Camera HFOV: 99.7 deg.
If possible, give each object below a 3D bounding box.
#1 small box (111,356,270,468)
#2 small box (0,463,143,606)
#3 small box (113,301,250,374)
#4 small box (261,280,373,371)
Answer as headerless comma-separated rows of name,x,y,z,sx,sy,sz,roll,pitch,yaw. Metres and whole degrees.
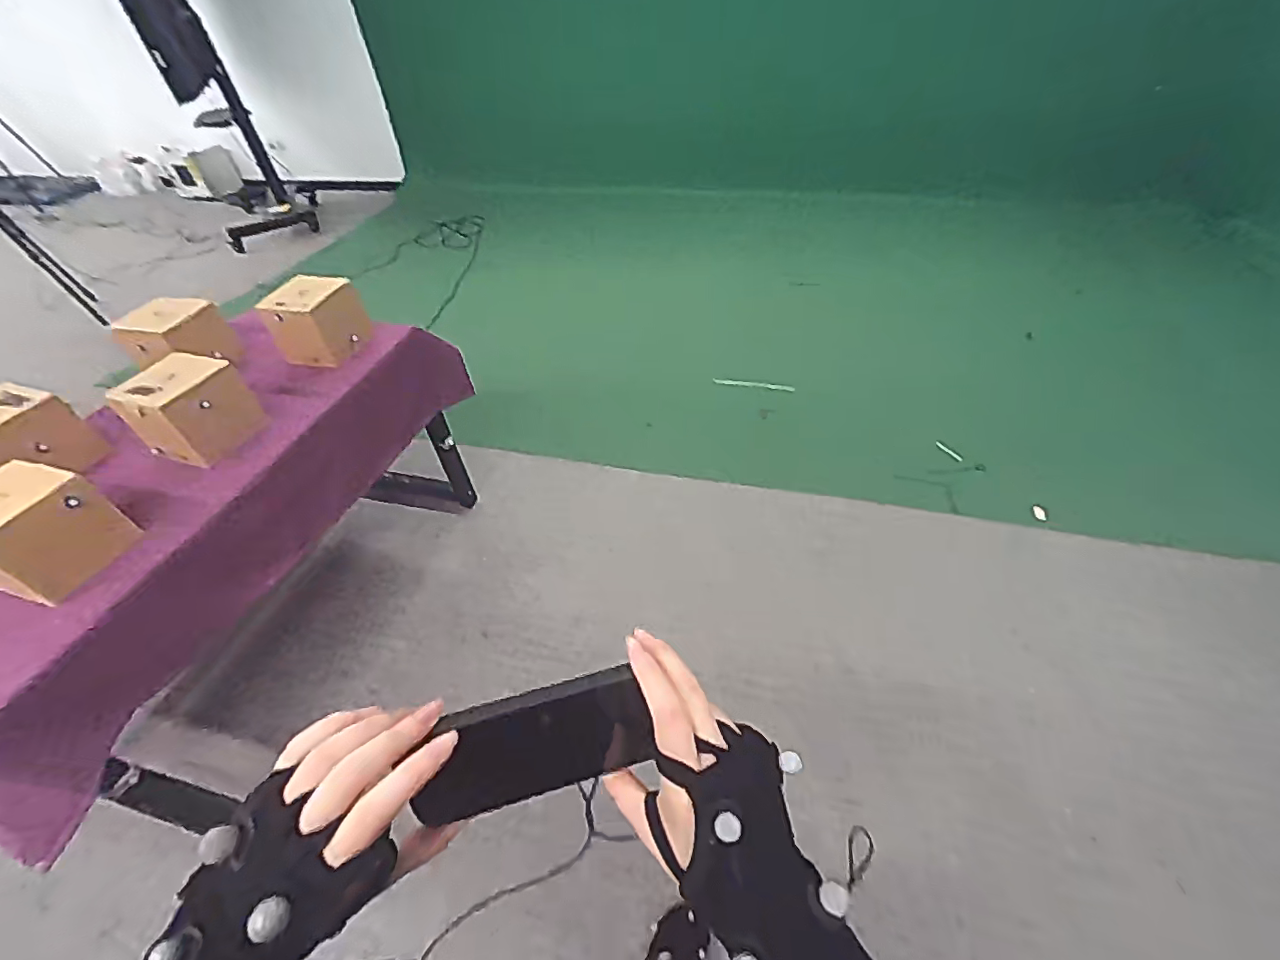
small box,-0.977,-0.149,1.195,0.168,0.176,0.179,11,46,16
small box,-1.060,0.098,0.957,0.168,0.176,0.179,10,46,15
small box,-1.188,-0.351,1.415,0.179,0.176,0.168,7,47,12
small box,-0.850,-0.415,1.451,0.168,0.176,0.179,8,46,13
